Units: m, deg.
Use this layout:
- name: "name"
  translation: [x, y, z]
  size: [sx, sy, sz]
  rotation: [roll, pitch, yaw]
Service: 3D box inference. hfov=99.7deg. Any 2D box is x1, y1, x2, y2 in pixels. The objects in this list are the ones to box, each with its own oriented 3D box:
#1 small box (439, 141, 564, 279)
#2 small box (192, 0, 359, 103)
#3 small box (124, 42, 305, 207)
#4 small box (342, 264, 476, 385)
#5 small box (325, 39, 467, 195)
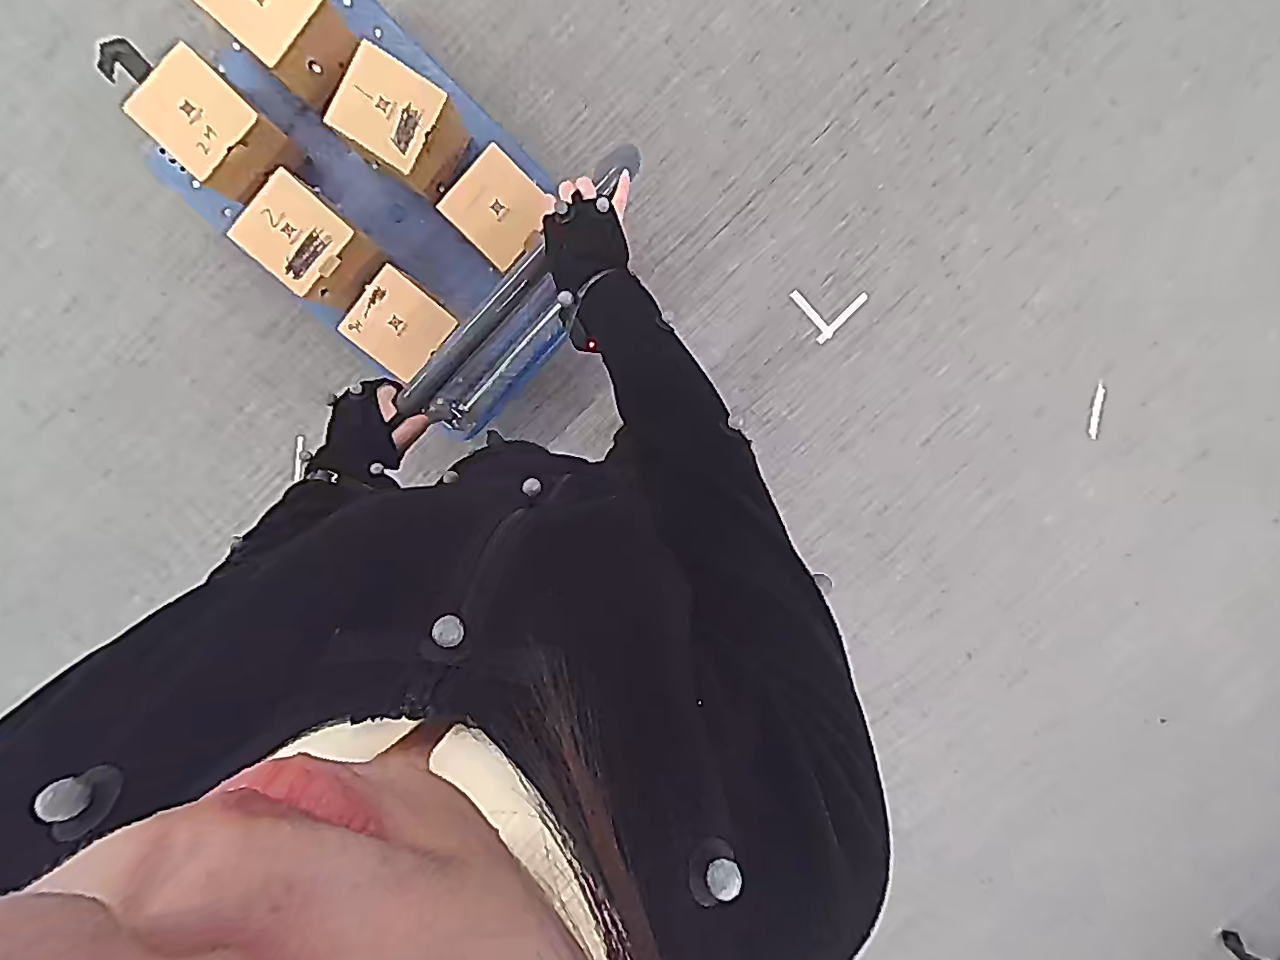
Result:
- name: "small box"
  translation: [-0.273, -0.539, 1.115]
  size: [0.179, 0.176, 0.168]
  rotation: [43, 94, -9]
- name: "small box"
  translation: [-0.680, -0.868, 1.029]
  size: [0.179, 0.176, 0.168]
  rotation: [39, 95, -9]
- name: "small box"
  translation: [-0.811, -0.674, 1.051]
  size: [0.179, 0.176, 0.168]
  rotation: [44, 94, -11]
- name: "small box"
  translation: [-0.471, -0.318, 1.137]
  size: [0.179, 0.176, 0.168]
  rotation: [39, 94, -10]
- name: "small box"
  translation: [-0.470, -0.700, 1.072]
  size: [0.179, 0.176, 0.168]
  rotation: [30, 96, -8]
